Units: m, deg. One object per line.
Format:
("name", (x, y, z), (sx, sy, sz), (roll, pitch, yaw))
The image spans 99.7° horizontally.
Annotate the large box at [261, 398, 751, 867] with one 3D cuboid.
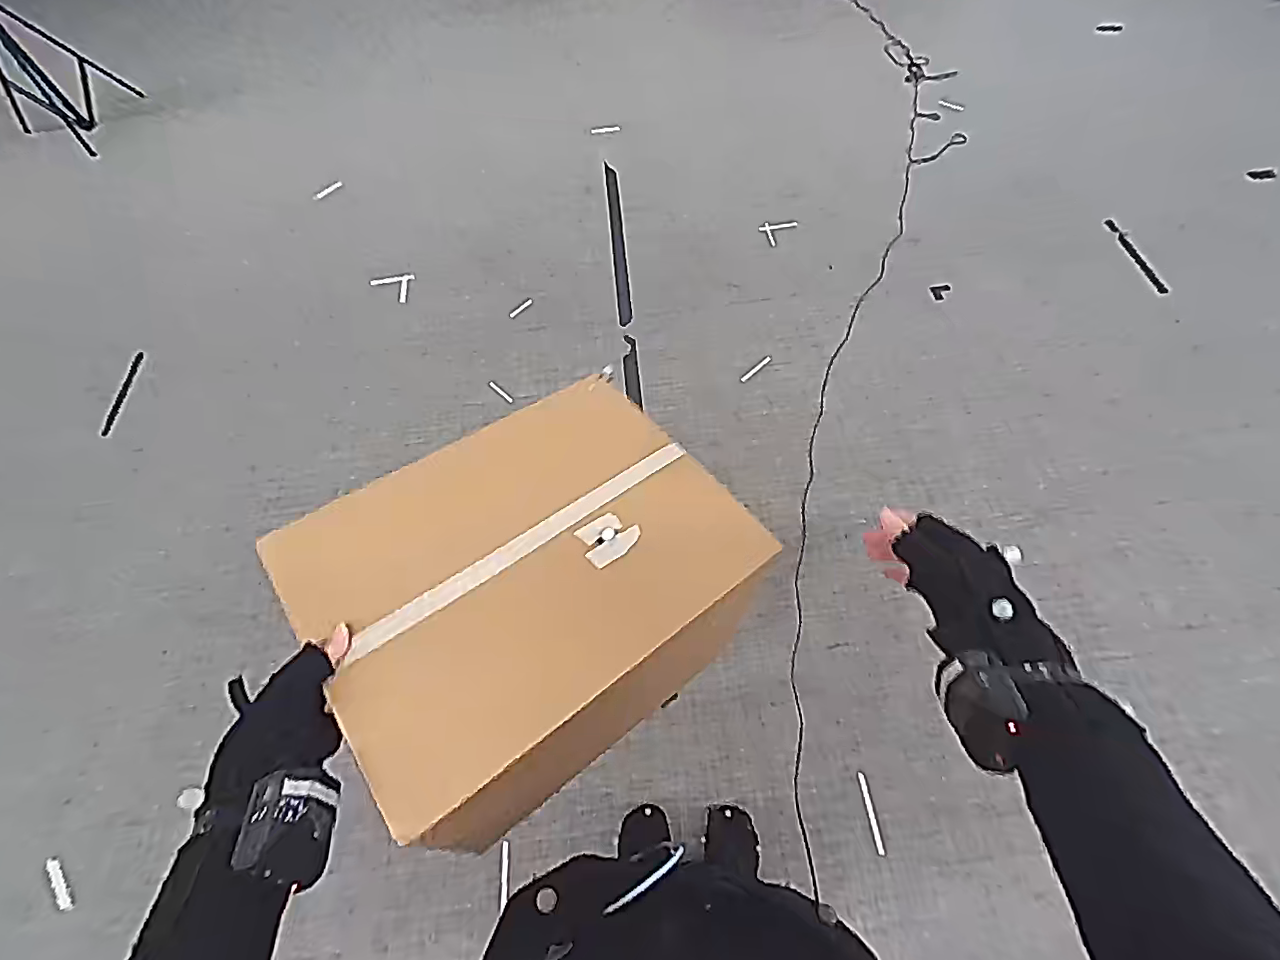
("large box", (-0.136, 0.175, 0.665), (0.408, 0.320, 0.320), (-33, 62, -26))
